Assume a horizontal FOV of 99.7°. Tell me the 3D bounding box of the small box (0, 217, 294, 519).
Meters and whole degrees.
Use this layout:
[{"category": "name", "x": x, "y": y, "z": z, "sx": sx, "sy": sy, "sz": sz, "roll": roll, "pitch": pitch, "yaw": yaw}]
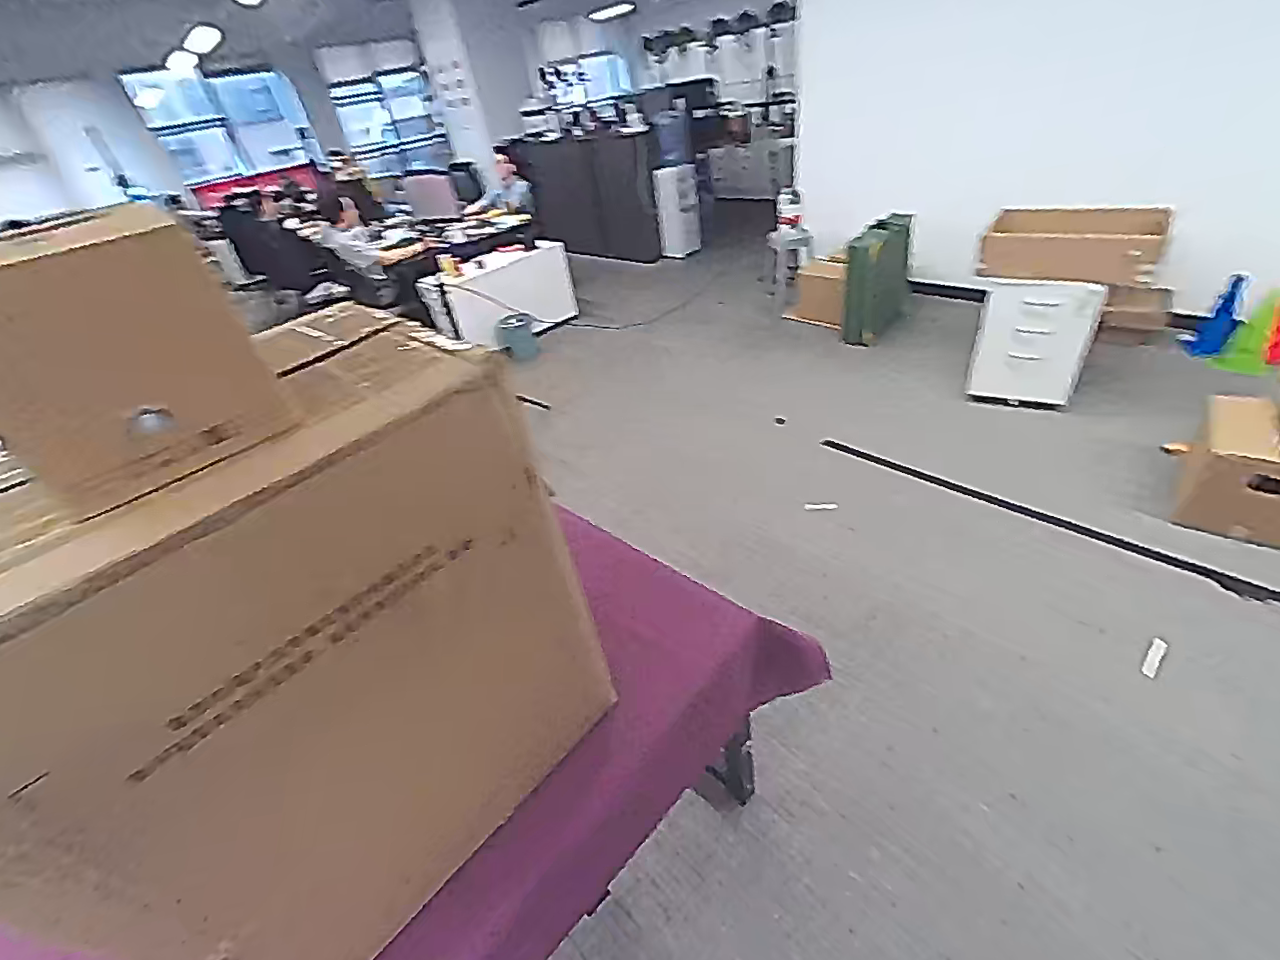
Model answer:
[{"category": "small box", "x": -0.423, "y": -0.097, "z": 0.436, "sx": 0.168, "sy": 0.176, "sz": 0.179, "roll": -36, "pitch": 46, "yaw": -29}]
